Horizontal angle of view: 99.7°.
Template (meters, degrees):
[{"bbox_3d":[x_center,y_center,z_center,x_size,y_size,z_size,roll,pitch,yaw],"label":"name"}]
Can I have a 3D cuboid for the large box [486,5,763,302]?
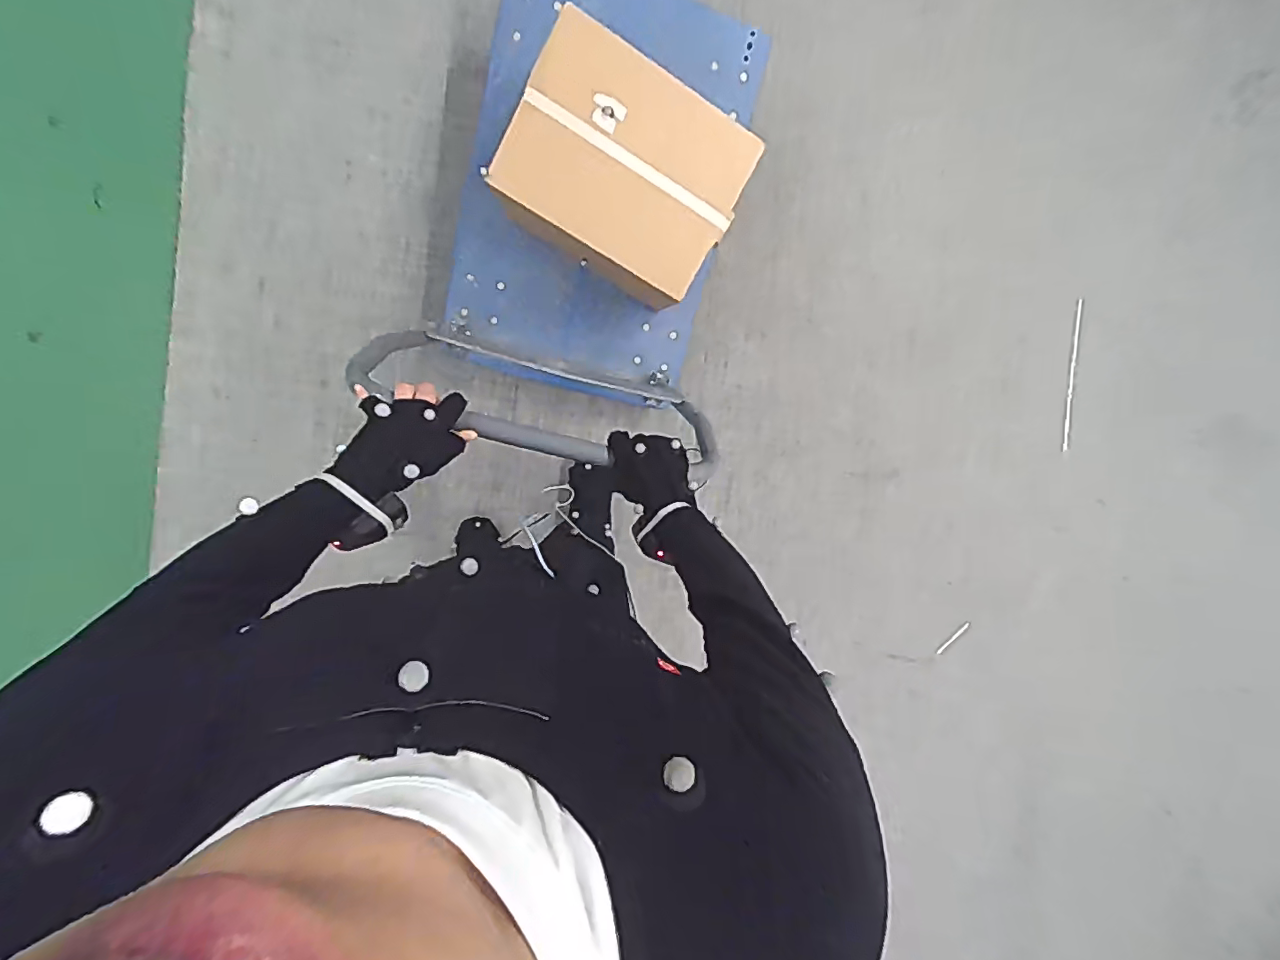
[{"bbox_3d":[-0.034,-0.600,1.093,0.408,0.320,0.320,29,100,-12],"label":"large box"}]
